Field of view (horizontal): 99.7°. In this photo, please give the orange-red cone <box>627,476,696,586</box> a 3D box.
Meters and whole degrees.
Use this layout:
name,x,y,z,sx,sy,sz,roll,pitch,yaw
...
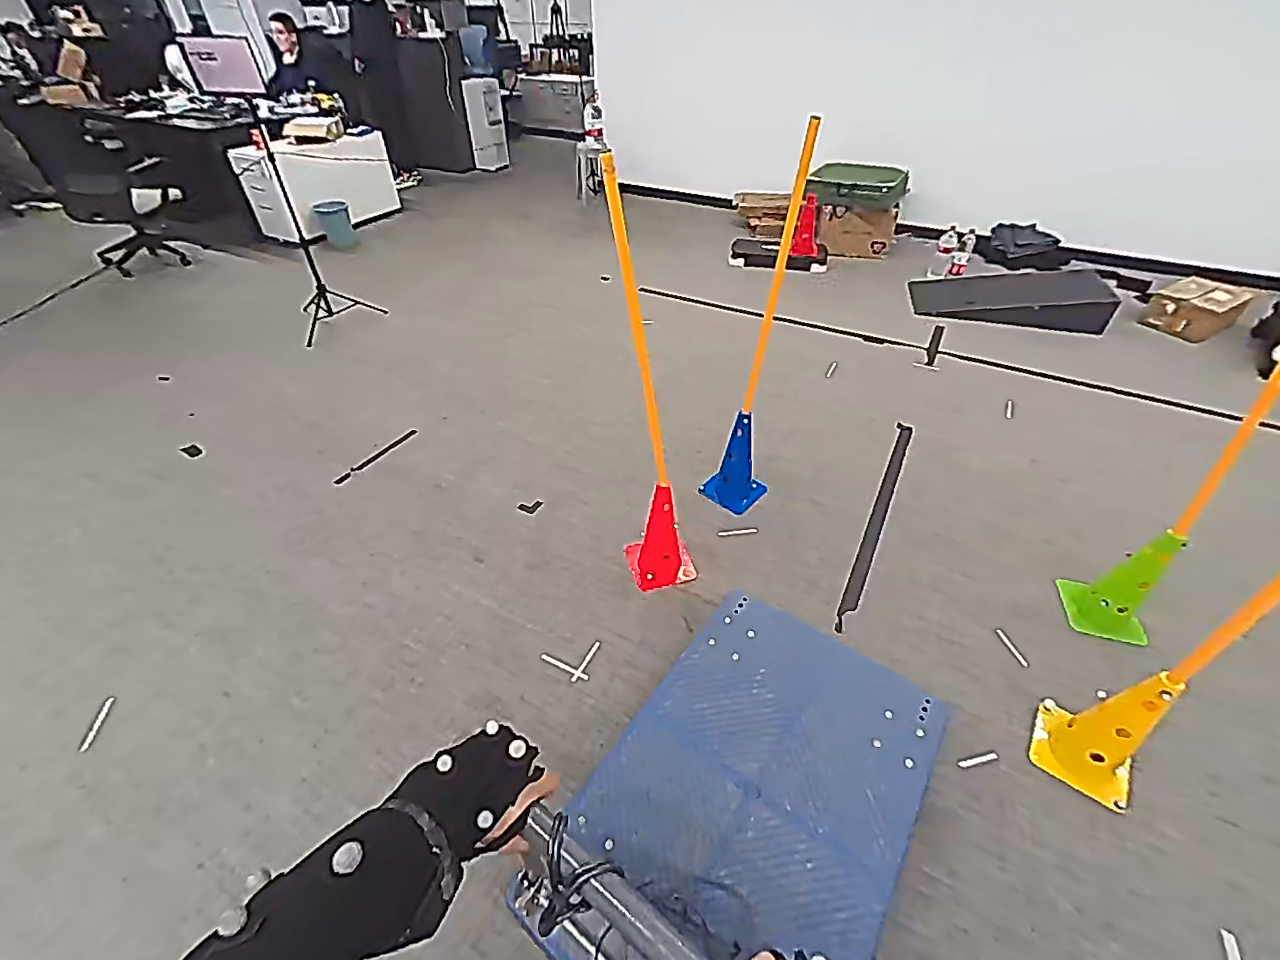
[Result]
name,x,y,z,sx,sy,sz,roll,pitch,yaw
orange-red cone,0.072,0.130,1.660,0.199,0.360,0.198,-9,43,-13

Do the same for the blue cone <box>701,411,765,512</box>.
name,x,y,z,sx,sy,sz,roll,pitch,yaw
blue cone,0.352,-0.088,1.927,0.193,0.380,0.192,33,52,31

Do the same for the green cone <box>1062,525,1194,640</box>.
name,x,y,z,sx,sy,sz,roll,pitch,yaw
green cone,1.407,0.258,1.521,0.200,0.368,0.202,10,44,11
